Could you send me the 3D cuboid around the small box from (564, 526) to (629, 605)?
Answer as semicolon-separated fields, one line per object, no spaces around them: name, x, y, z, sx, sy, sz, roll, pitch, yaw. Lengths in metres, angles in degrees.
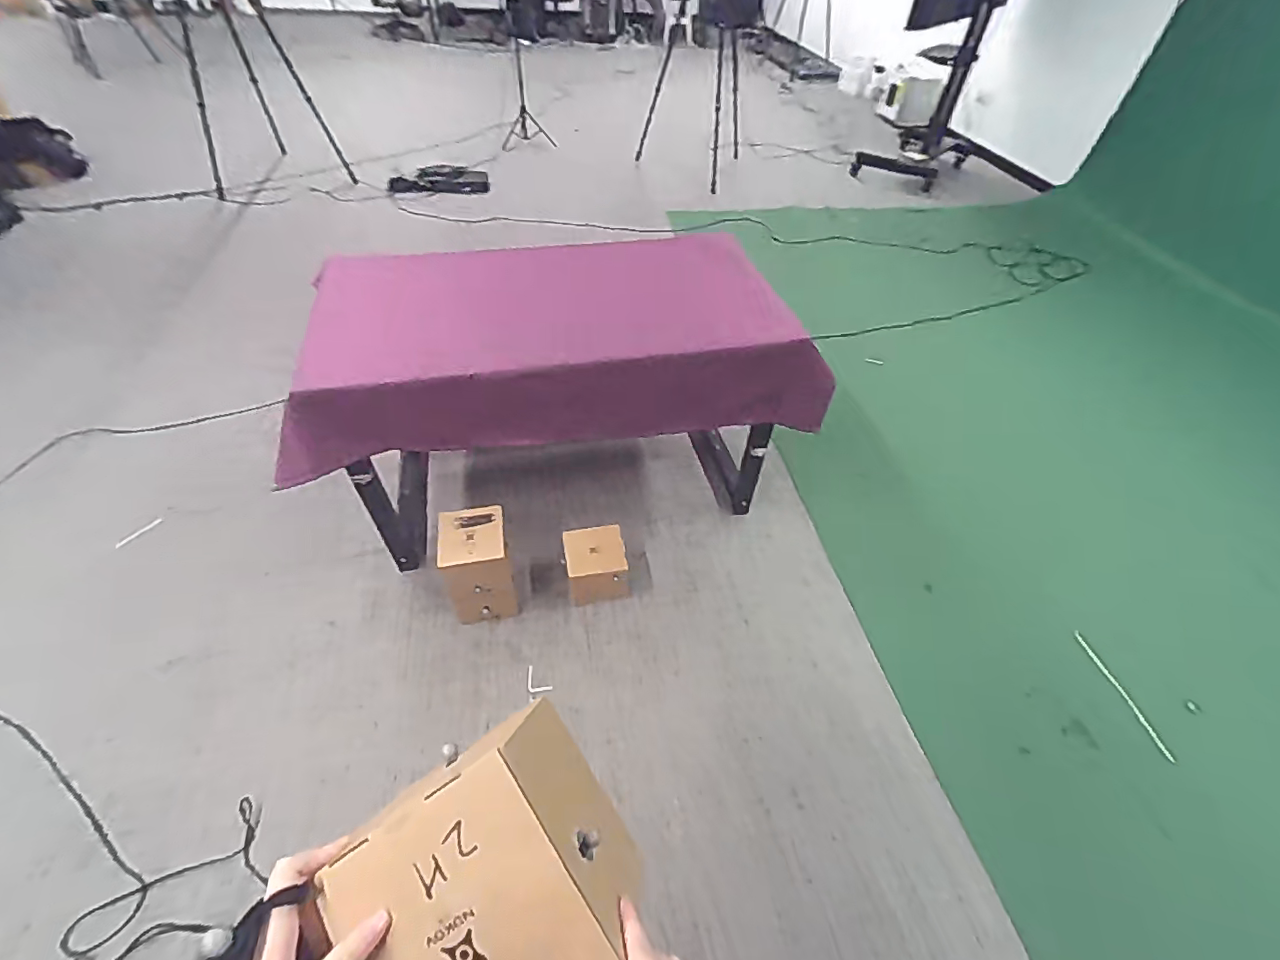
small box;-0.132;0.267;1.659;0.179;0.176;0.168;-7;49;-10
